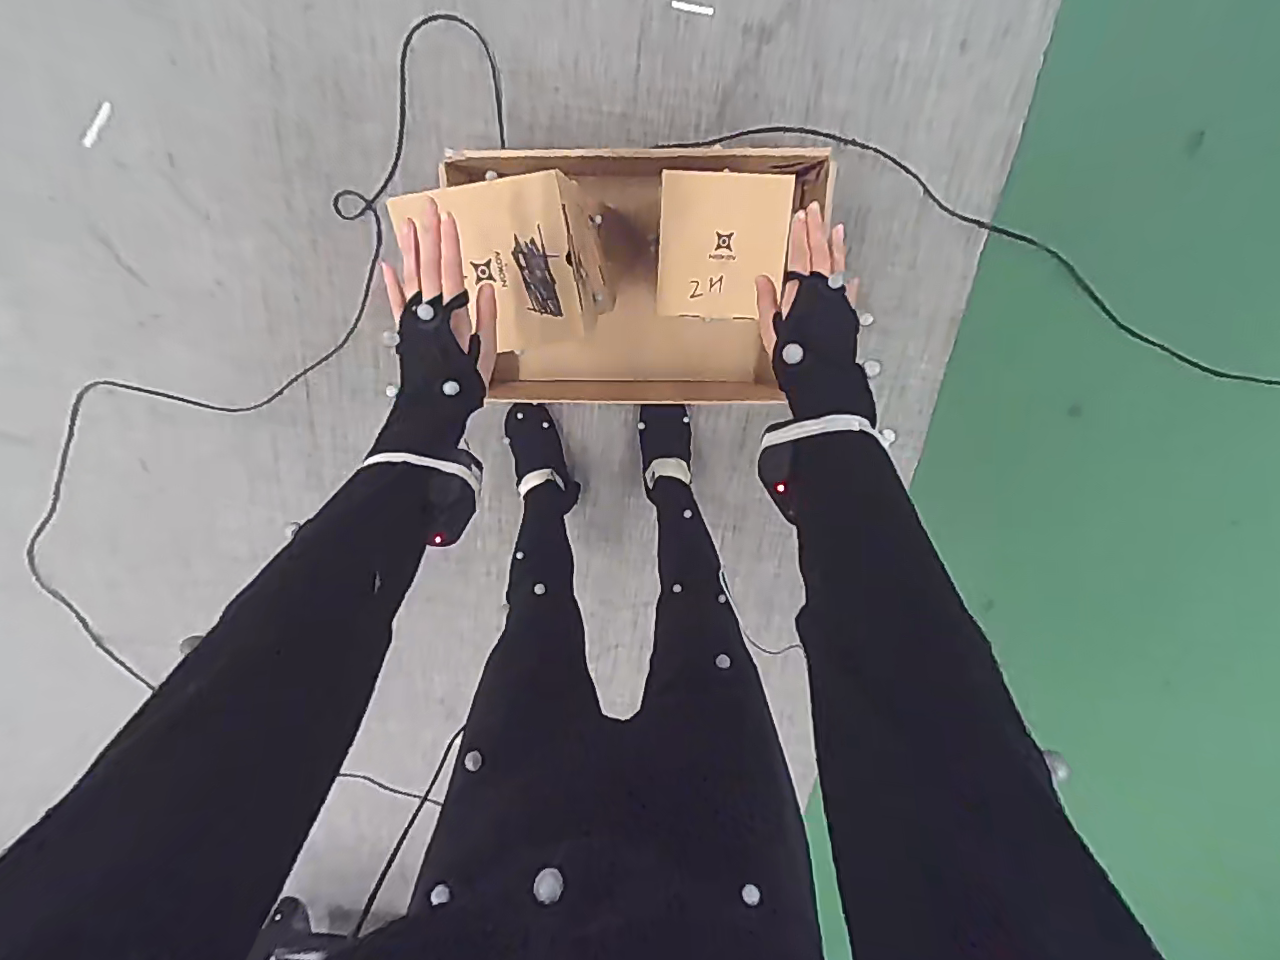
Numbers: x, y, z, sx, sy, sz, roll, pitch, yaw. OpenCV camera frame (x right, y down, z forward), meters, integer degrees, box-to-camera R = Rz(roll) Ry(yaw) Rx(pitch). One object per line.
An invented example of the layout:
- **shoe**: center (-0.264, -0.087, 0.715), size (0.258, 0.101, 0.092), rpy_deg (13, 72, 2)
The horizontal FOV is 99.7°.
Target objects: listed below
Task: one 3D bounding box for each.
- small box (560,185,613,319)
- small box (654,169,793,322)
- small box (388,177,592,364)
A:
- **small box**: center (-0.143, -0.311, 0.785), size (0.179, 0.176, 0.168), rpy_deg (-14, 112, 6)
- **small box**: center (0.106, -0.327, 0.769), size (0.168, 0.176, 0.179), rpy_deg (3, 113, 1)
- **small box**: center (-0.155, -0.245, 0.635), size (0.179, 0.176, 0.168), rpy_deg (-8, 113, 4)
